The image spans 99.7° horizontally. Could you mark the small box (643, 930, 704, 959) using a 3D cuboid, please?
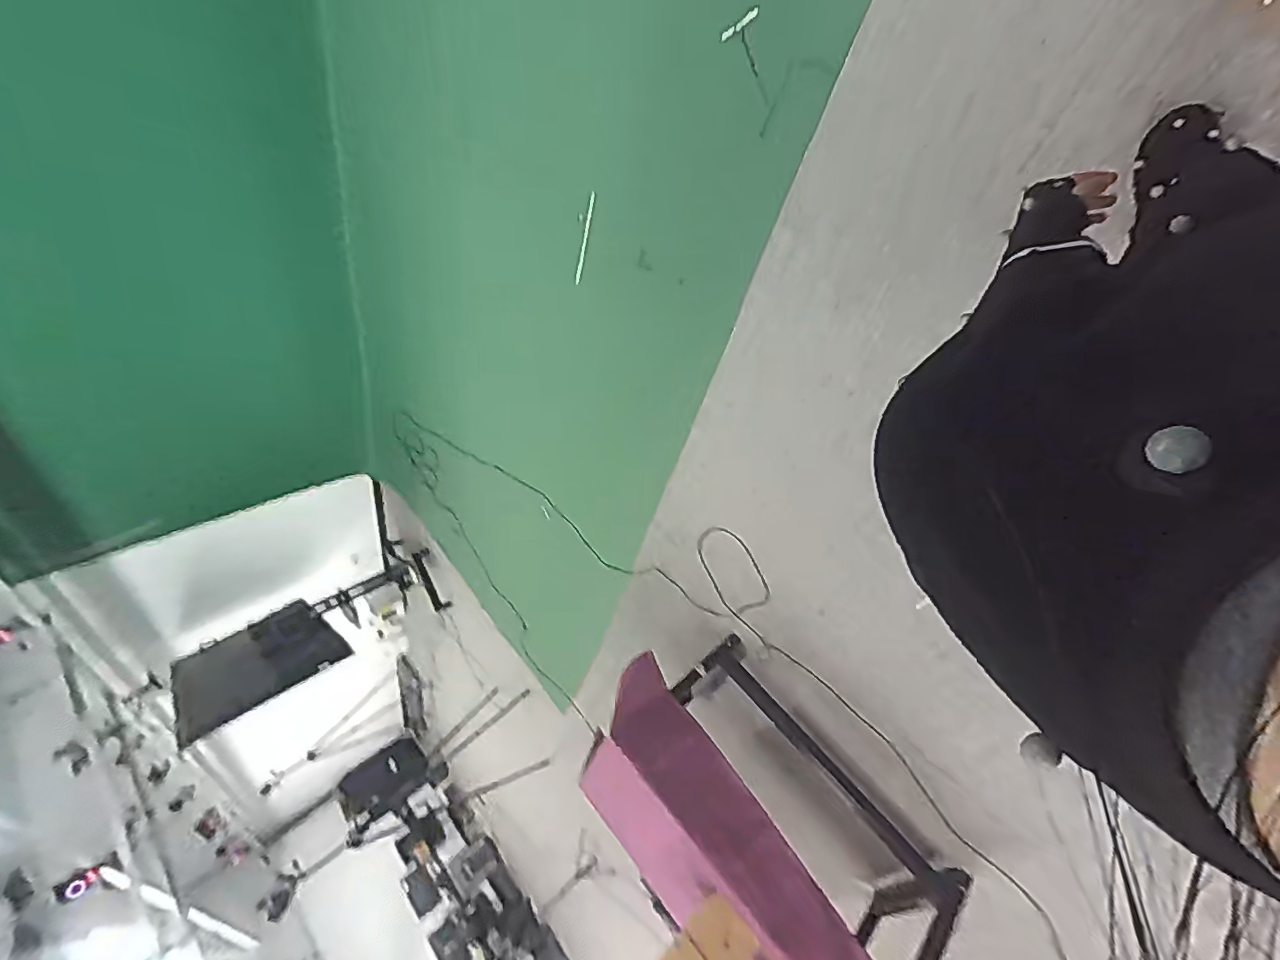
[{"bbox_3d":[0.101,1.487,1.610,0.179,0.176,0.168,45,139,22],"label":"small box"}]

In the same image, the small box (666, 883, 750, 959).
[{"bbox_3d":[0.218,1.433,1.714,0.179,0.176,0.168,44,138,24],"label":"small box"}]
